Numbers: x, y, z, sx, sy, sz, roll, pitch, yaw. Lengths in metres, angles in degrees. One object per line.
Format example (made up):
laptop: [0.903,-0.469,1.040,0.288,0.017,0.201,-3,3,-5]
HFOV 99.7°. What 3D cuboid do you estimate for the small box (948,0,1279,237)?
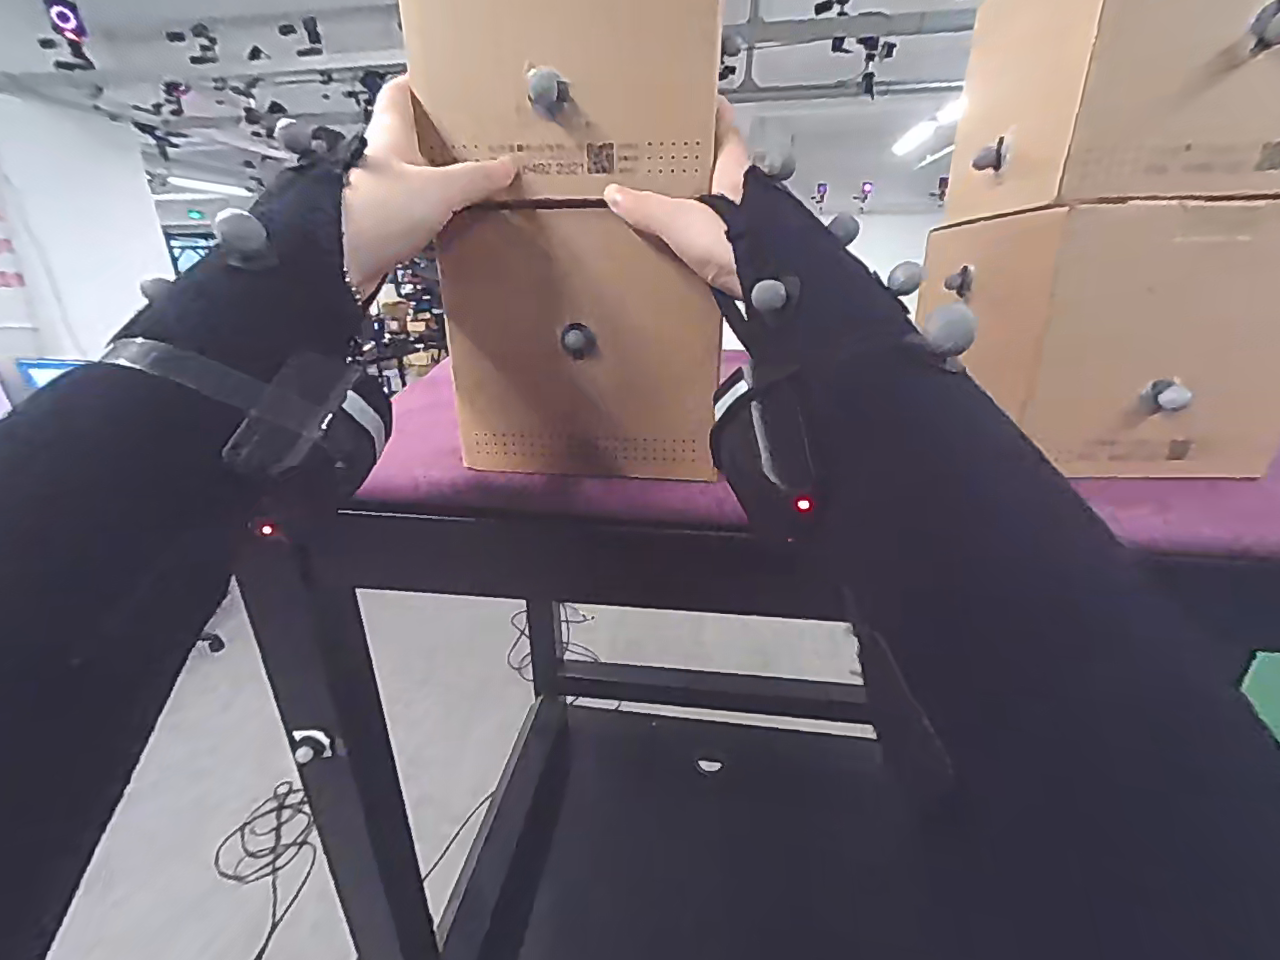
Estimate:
small box: [0.334,-0.260,0.357,0.168,0.176,0.179,2,21,6]

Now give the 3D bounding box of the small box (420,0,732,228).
small box: [-0.029,-0.256,0.346,0.168,0.176,0.179,2,23,5]
